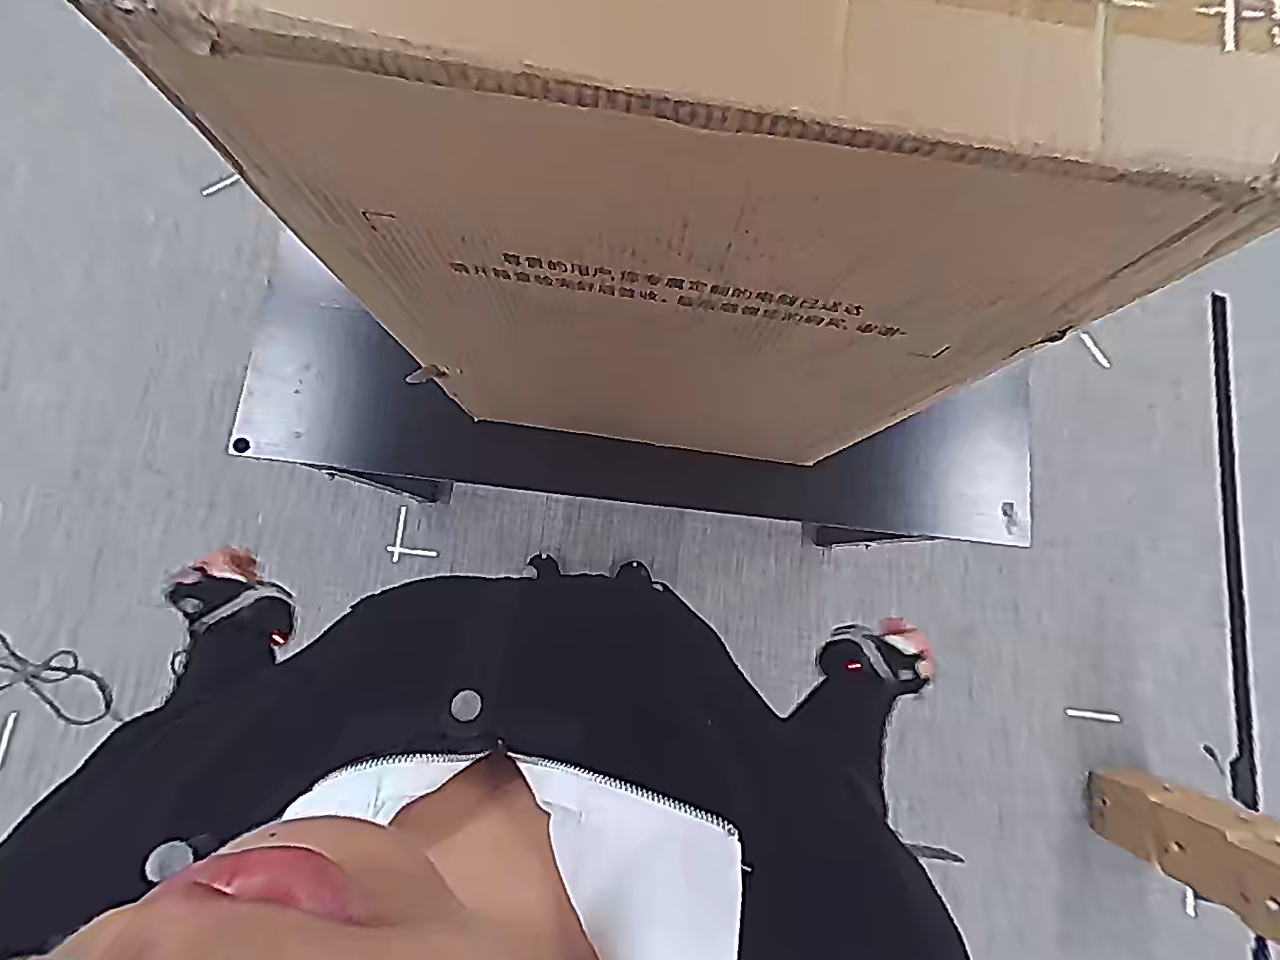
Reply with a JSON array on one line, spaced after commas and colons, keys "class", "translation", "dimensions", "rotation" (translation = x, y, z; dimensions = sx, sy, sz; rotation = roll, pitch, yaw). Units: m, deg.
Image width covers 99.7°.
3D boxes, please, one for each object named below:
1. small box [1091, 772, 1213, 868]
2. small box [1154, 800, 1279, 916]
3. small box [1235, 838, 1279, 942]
[{"class": "small box", "translation": [1.326, 0.874, 1.399], "dimensions": [0.179, 0.176, 0.168], "rotation": [4, 80, -1]}, {"class": "small box", "translation": [1.347, 0.853, 1.237], "dimensions": [0.179, 0.176, 0.168], "rotation": [-1, 80, -3]}, {"class": "small box", "translation": [1.351, 0.838, 1.073], "dimensions": [0.179, 0.176, 0.168], "rotation": [-3, 80, -3]}]
